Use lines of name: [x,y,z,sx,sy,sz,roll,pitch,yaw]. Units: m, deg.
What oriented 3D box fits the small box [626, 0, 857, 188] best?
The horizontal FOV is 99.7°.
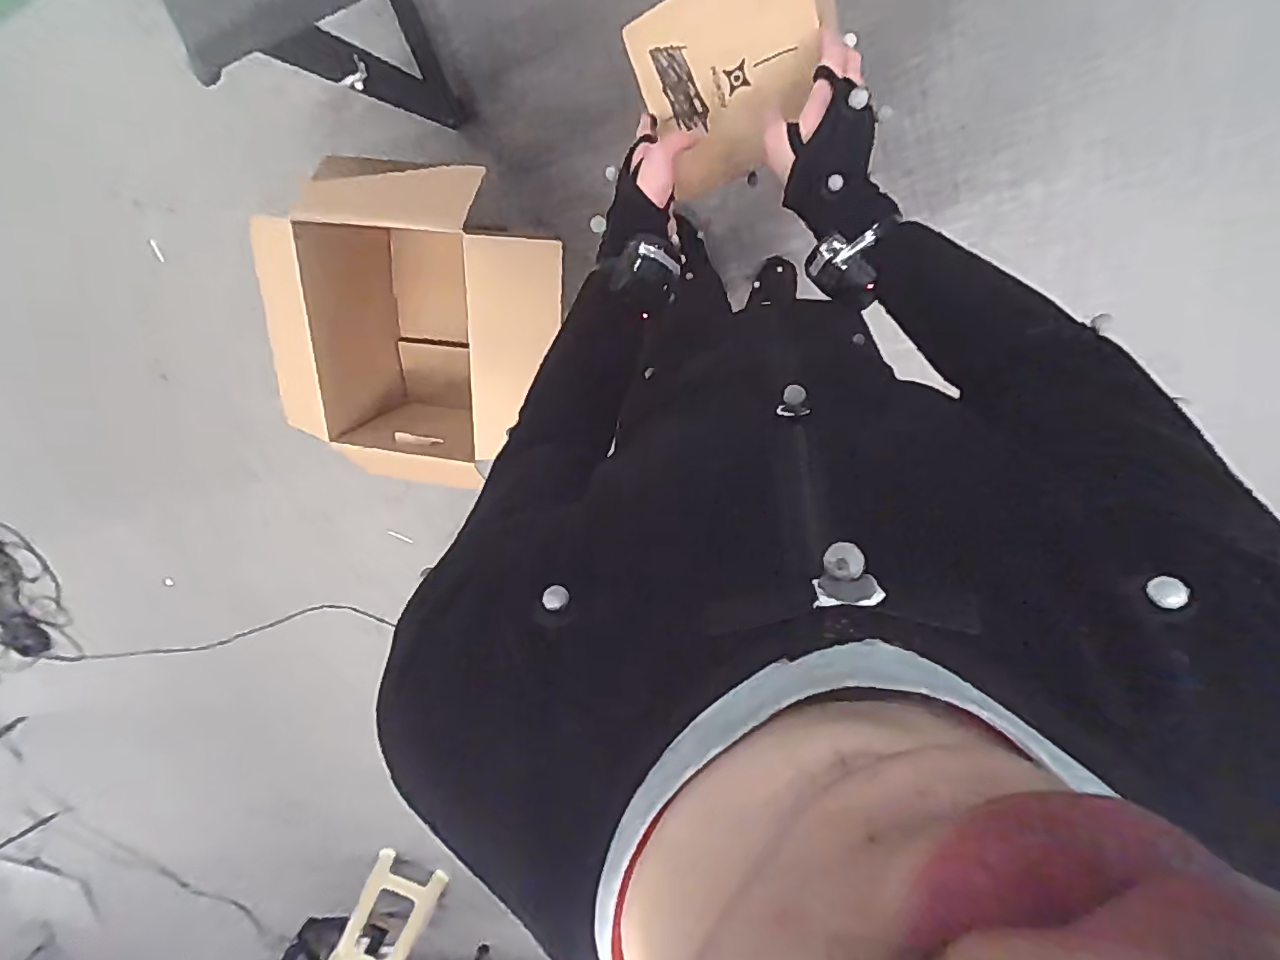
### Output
small box: [0.117,-0.429,0.563,0.179,0.176,0.168,-7,120,30]
